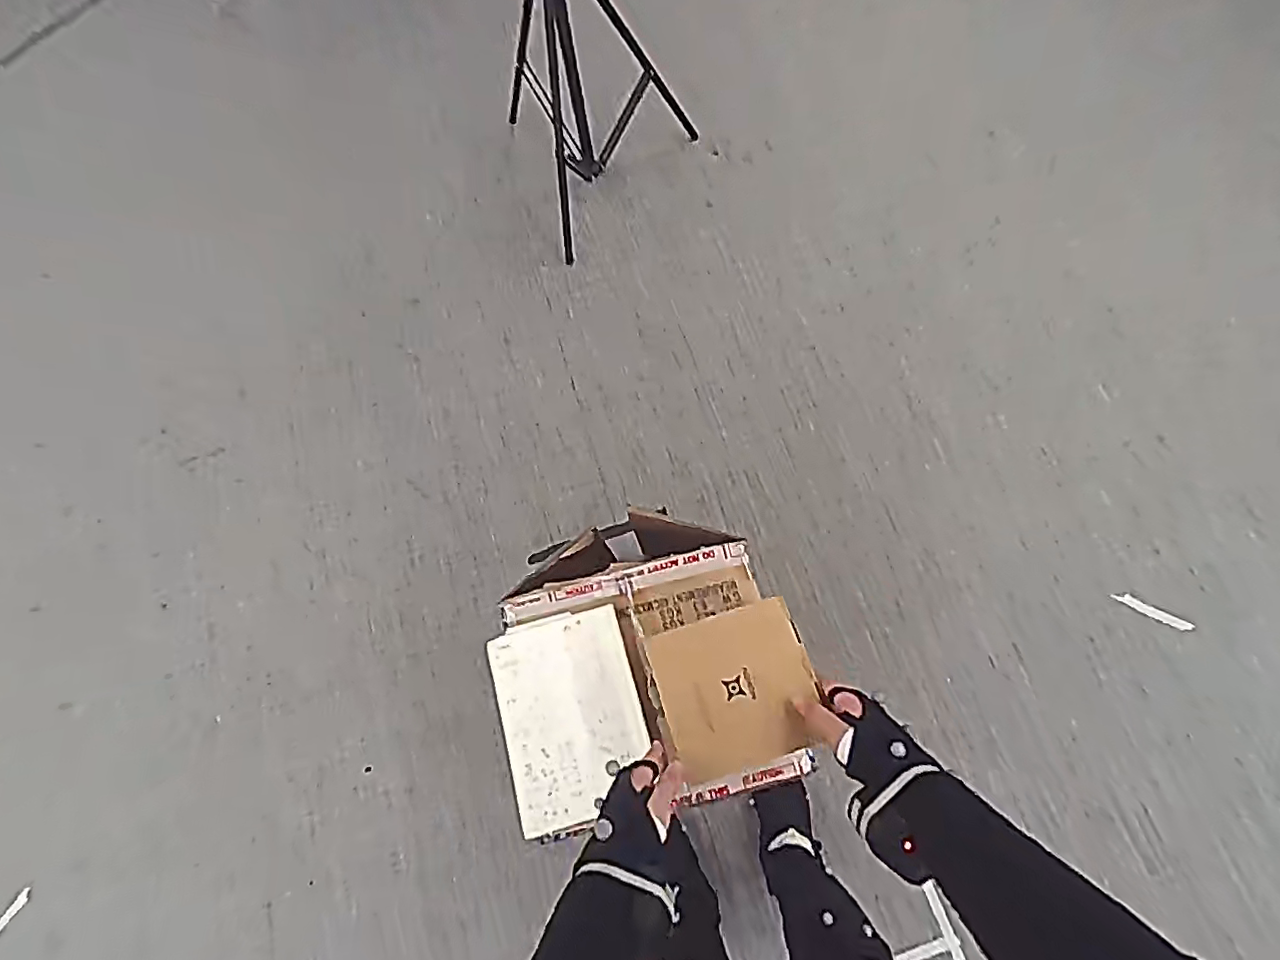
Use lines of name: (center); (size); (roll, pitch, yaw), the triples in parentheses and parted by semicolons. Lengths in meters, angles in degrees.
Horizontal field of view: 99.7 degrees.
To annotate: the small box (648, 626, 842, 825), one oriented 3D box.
small box: (0.116, 0.287, 0.672); (0.179, 0.176, 0.168); (-18, 74, -2)
